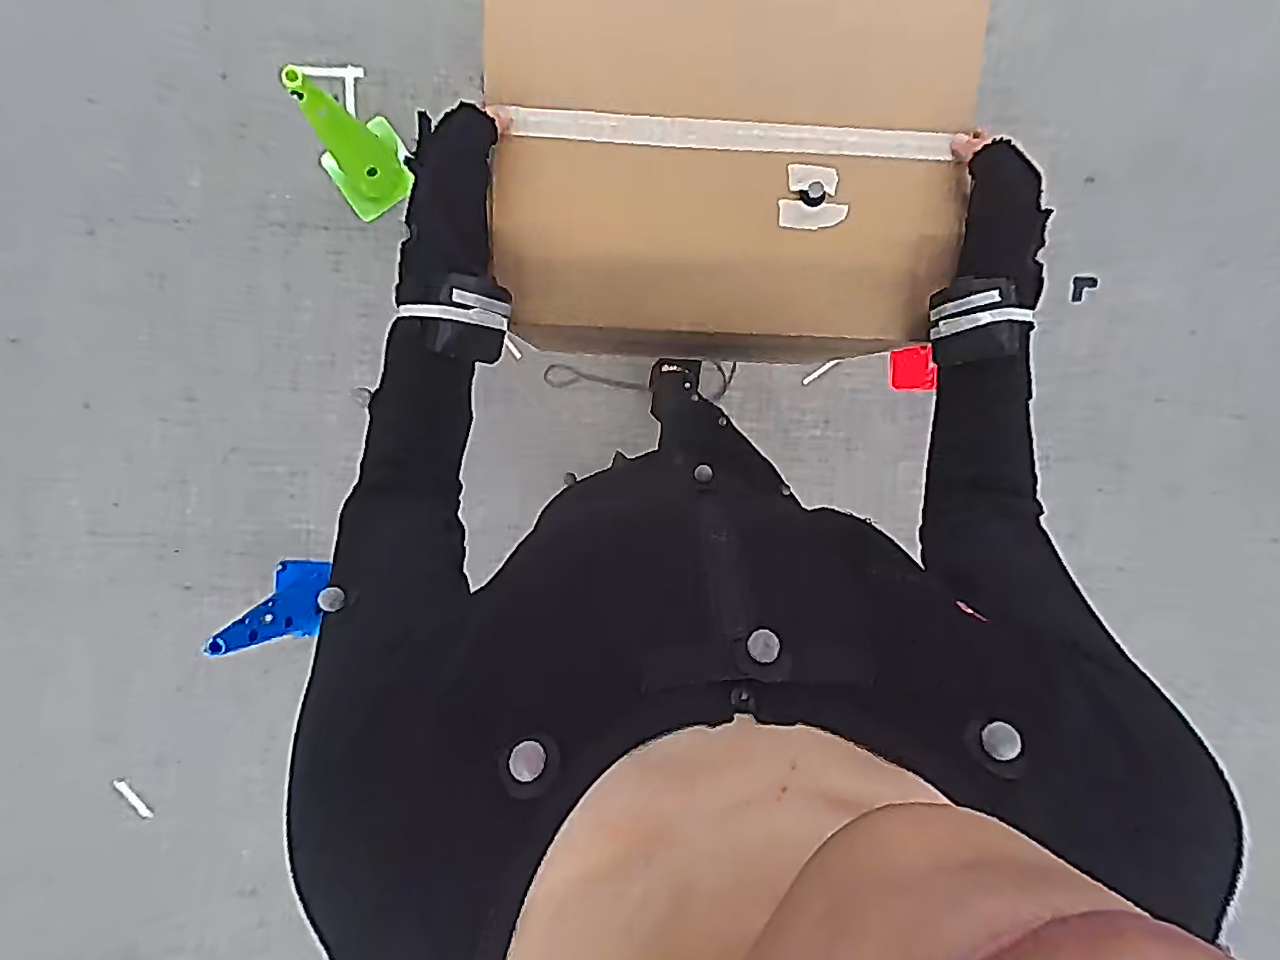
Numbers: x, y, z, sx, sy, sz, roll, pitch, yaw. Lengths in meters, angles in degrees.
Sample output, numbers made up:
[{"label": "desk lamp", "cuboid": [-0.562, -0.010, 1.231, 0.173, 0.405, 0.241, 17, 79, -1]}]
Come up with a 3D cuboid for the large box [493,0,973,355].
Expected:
[{"label": "large box", "cuboid": [0.068, -0.312, 0.601, 0.408, 0.320, 0.320, 1, 99, -4]}]

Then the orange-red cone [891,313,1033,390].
[{"label": "orange-red cone", "cuboid": [0.791, -0.340, 1.302, 0.198, 0.360, 0.199, -1, 92, -3]}]

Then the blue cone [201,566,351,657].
[{"label": "blue cone", "cuboid": [-0.867, 0.333, 1.280, 0.192, 0.380, 0.193, 5, 93, -2]}]

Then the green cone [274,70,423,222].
[{"label": "green cone", "cuboid": [-0.679, -0.781, 1.209, 0.202, 0.368, 0.200, -36, 93, 1]}]

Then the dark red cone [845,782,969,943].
[{"label": "dark red cone", "cuboid": [0.682, 0.955, 1.345, 0.201, 0.394, 0.202, 7, 93, -2]}]
